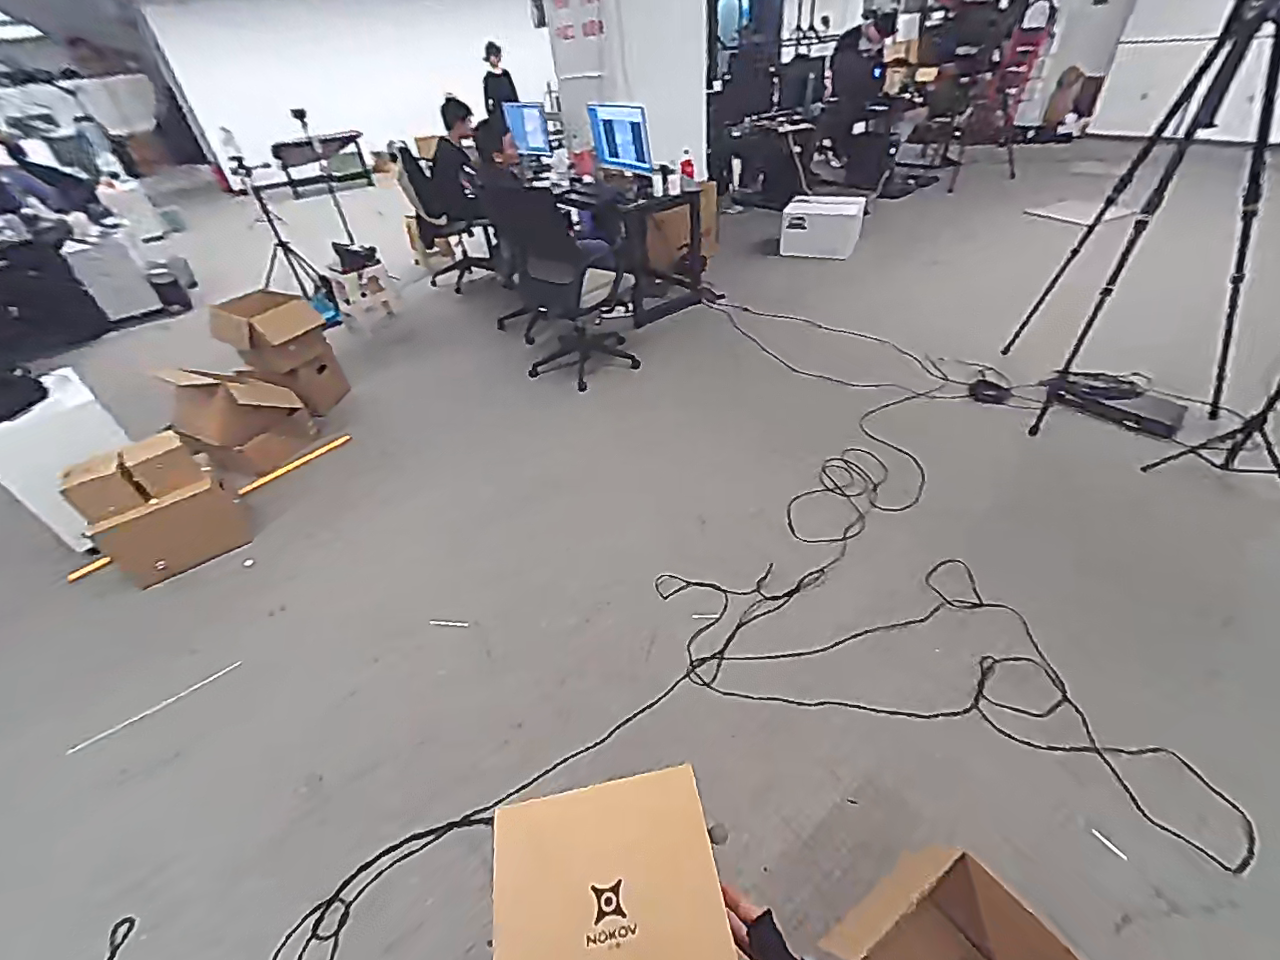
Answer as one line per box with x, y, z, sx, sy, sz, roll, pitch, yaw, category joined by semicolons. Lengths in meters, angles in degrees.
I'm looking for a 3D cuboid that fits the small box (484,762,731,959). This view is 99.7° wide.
-0.021;0.361;0.431;0.168;0.176;0.179;-11;44;-4;small box
